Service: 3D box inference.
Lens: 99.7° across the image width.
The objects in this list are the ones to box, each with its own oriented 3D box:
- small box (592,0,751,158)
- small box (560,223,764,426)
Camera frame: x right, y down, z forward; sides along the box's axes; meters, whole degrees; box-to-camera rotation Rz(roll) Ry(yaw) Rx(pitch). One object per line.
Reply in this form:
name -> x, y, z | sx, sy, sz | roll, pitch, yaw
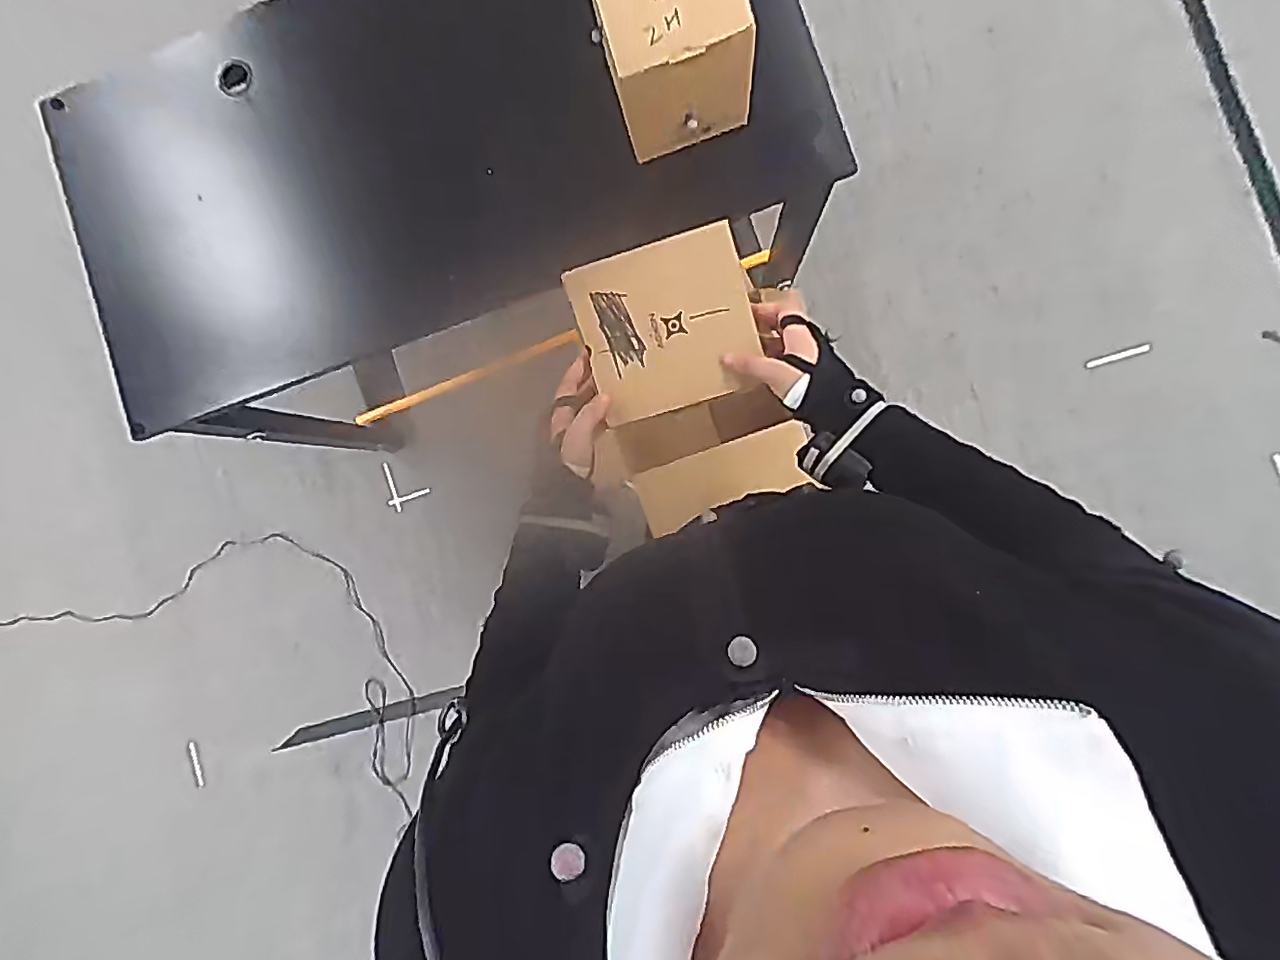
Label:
small box -> 0.037, -0.570, 0.704 | 0.168, 0.176, 0.179 | -16, 87, 7
small box -> 0.028, -0.161, 0.622 | 0.179, 0.176, 0.168 | -16, 95, 5
